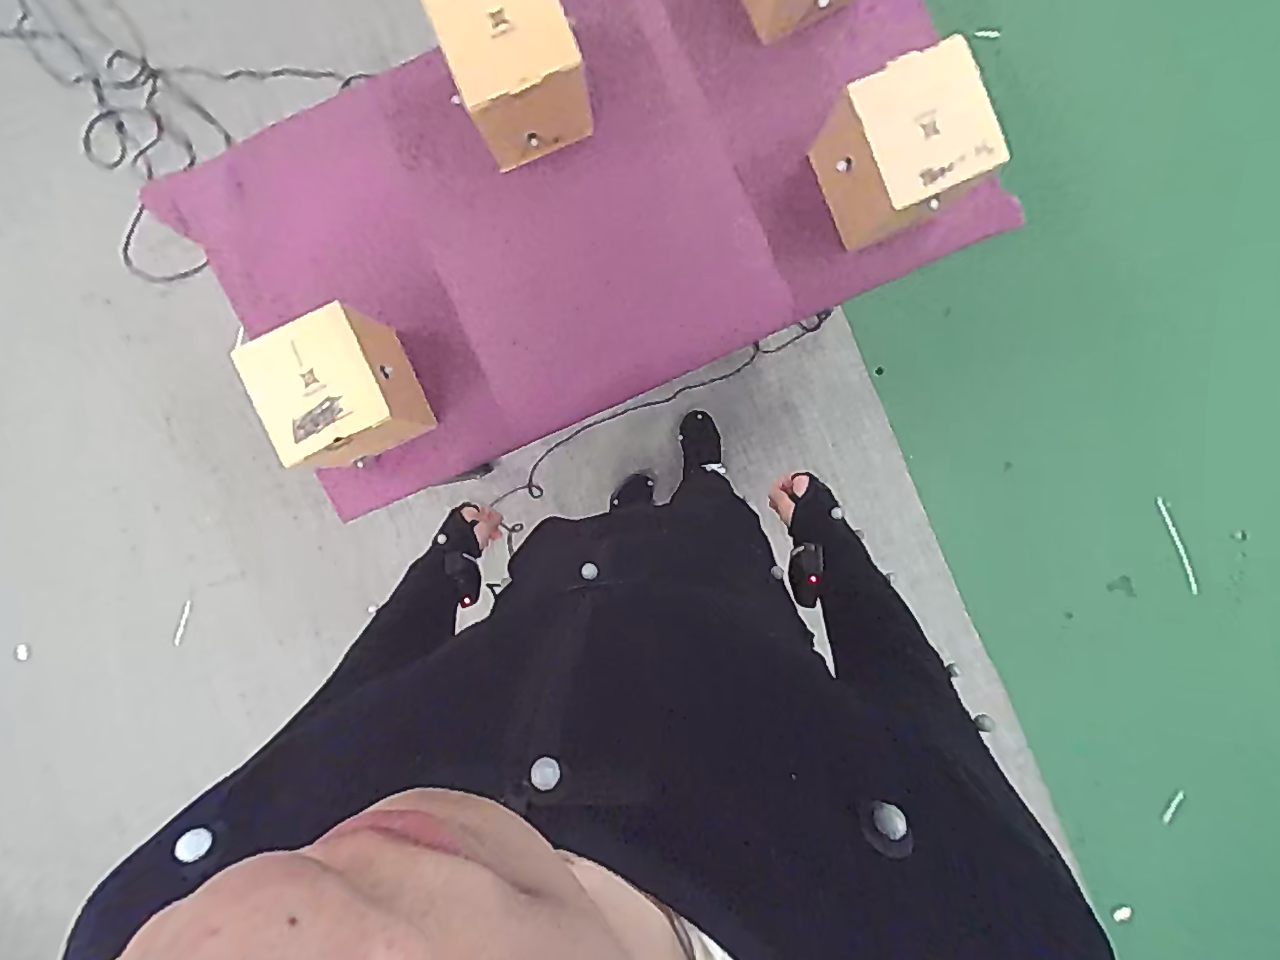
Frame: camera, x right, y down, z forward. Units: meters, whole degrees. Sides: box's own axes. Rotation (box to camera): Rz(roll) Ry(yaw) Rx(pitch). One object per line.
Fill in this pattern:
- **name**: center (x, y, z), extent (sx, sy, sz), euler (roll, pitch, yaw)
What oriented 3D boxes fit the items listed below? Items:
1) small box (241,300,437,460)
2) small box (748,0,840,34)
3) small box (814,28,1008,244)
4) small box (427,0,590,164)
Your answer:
- **small box**: center (-0.443, -0.143, 0.828), extent (0.168, 0.176, 0.179), euler (-25, 91, 2)
- **small box**: center (0.229, -0.804, 0.765), extent (0.168, 0.176, 0.179), euler (-25, 94, 6)
- **small box**: center (0.375, -0.480, 0.784), extent (0.168, 0.176, 0.179), euler (-23, 93, 4)
- **small box**: center (-0.185, -0.612, 0.793), extent (0.168, 0.176, 0.179), euler (-23, 95, 2)
